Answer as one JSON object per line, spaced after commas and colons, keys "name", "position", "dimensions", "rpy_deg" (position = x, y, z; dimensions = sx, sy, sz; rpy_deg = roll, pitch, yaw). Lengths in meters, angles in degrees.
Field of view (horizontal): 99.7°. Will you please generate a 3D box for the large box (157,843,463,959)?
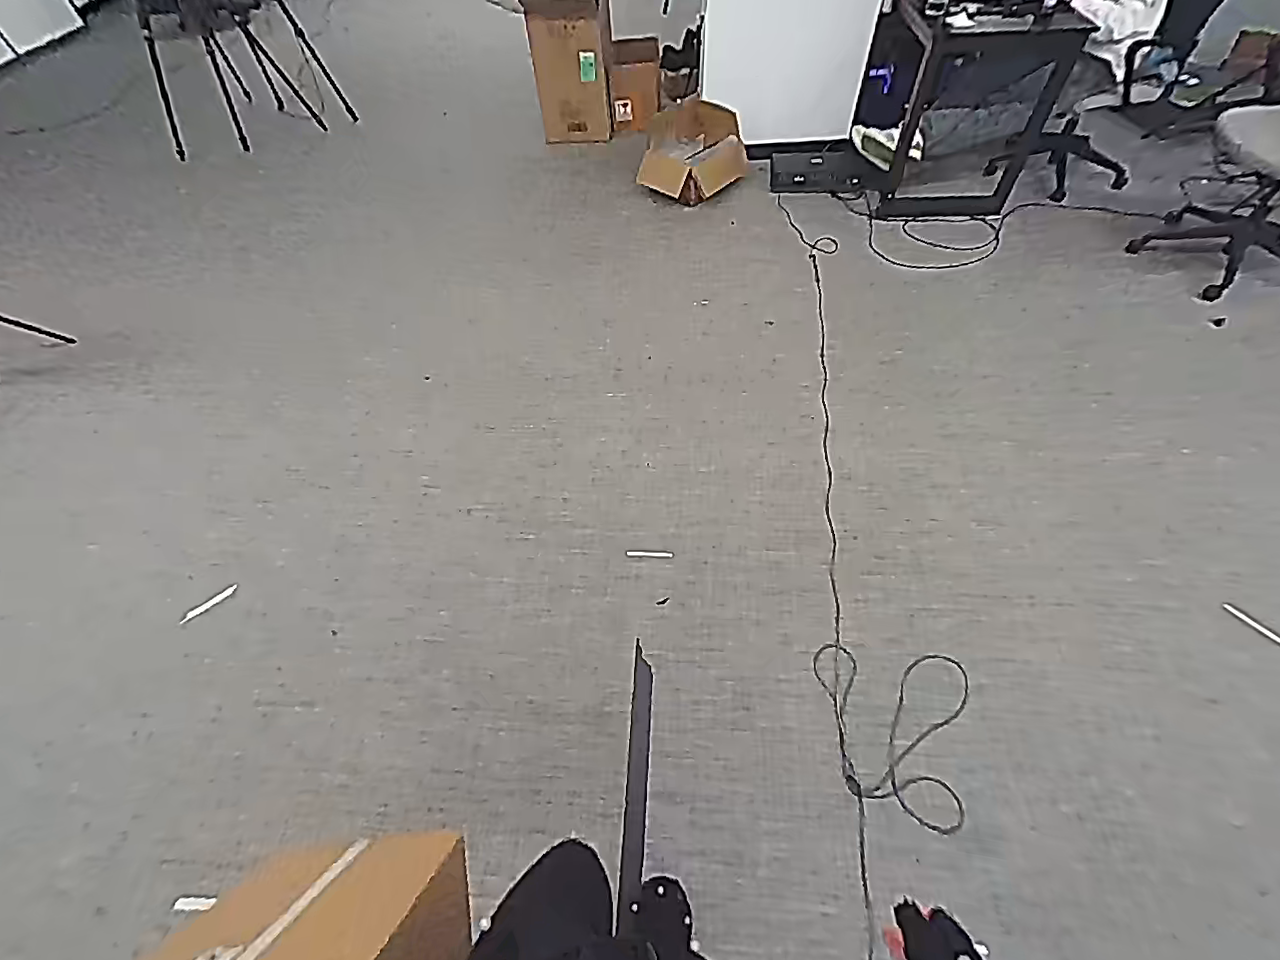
{"name": "large box", "position": [-0.432, 0.727, 0.666], "dimensions": [0.320, 0.408, 0.320], "rpy_deg": [-8, 82, 1]}
